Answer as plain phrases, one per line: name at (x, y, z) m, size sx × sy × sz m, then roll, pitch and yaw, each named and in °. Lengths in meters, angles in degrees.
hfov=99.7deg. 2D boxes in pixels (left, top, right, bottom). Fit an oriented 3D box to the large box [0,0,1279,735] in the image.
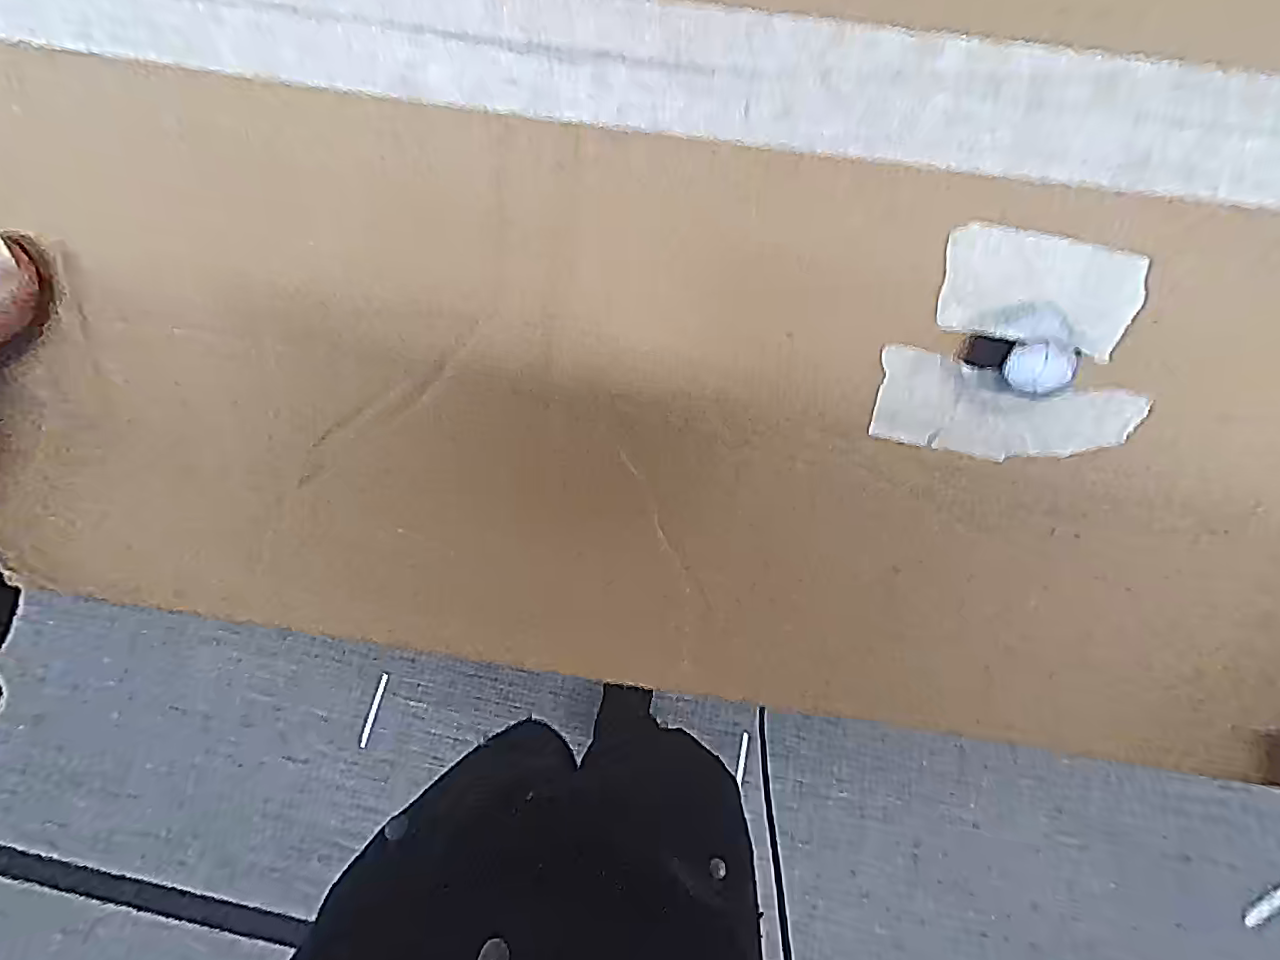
large box at (0.037, -0.136, 0.260) m, size 0.408 × 0.320 × 0.320 m, roll 8°, pitch 113°, yaw 0°
